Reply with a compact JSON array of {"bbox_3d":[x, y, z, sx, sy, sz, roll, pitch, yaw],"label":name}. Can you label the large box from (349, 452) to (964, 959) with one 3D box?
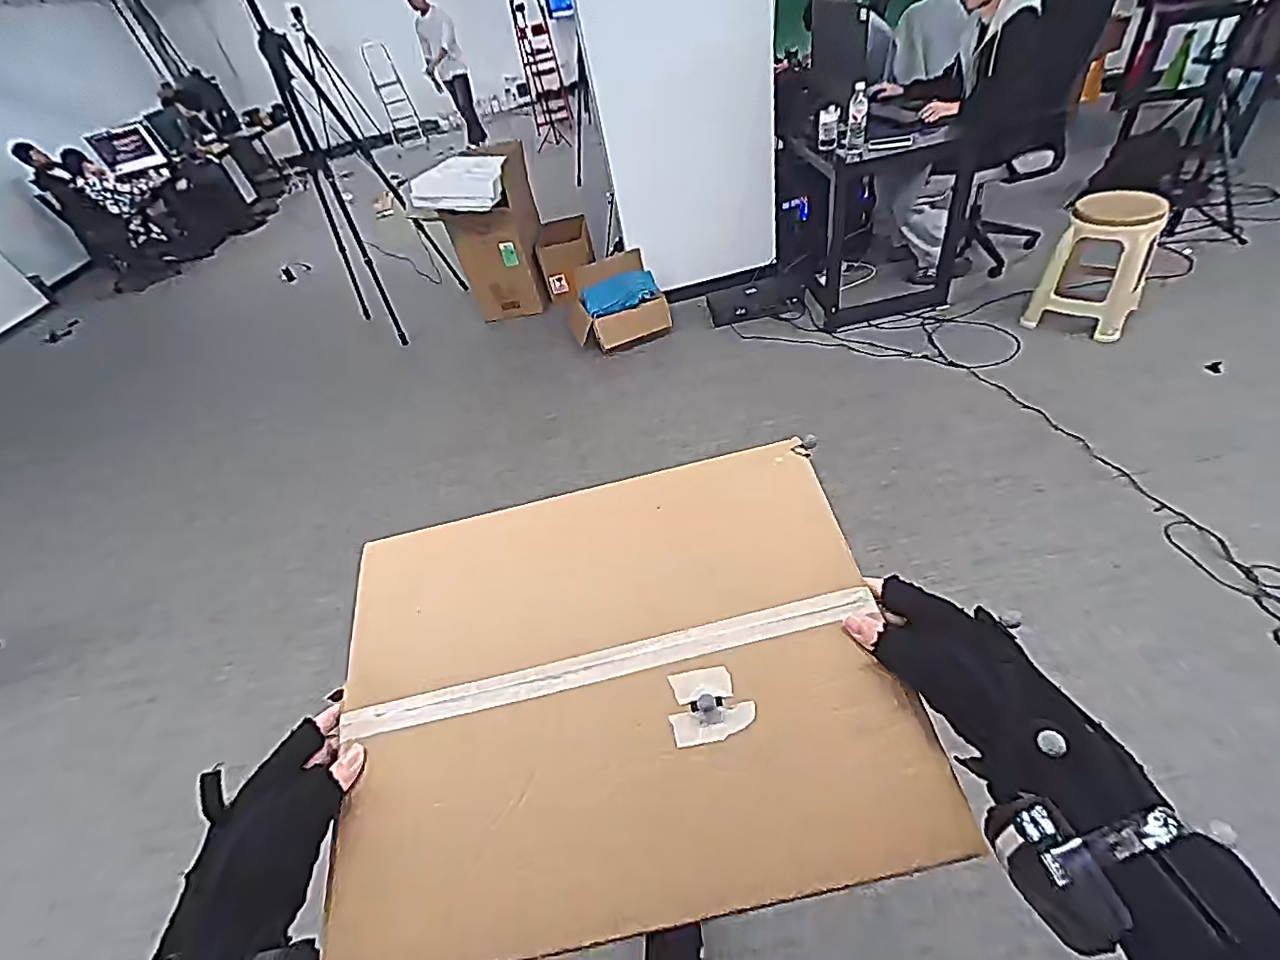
[{"bbox_3d":[0.000,0.225,0.538,0.408,0.320,0.320,-14,57,0],"label":"large box"}]
